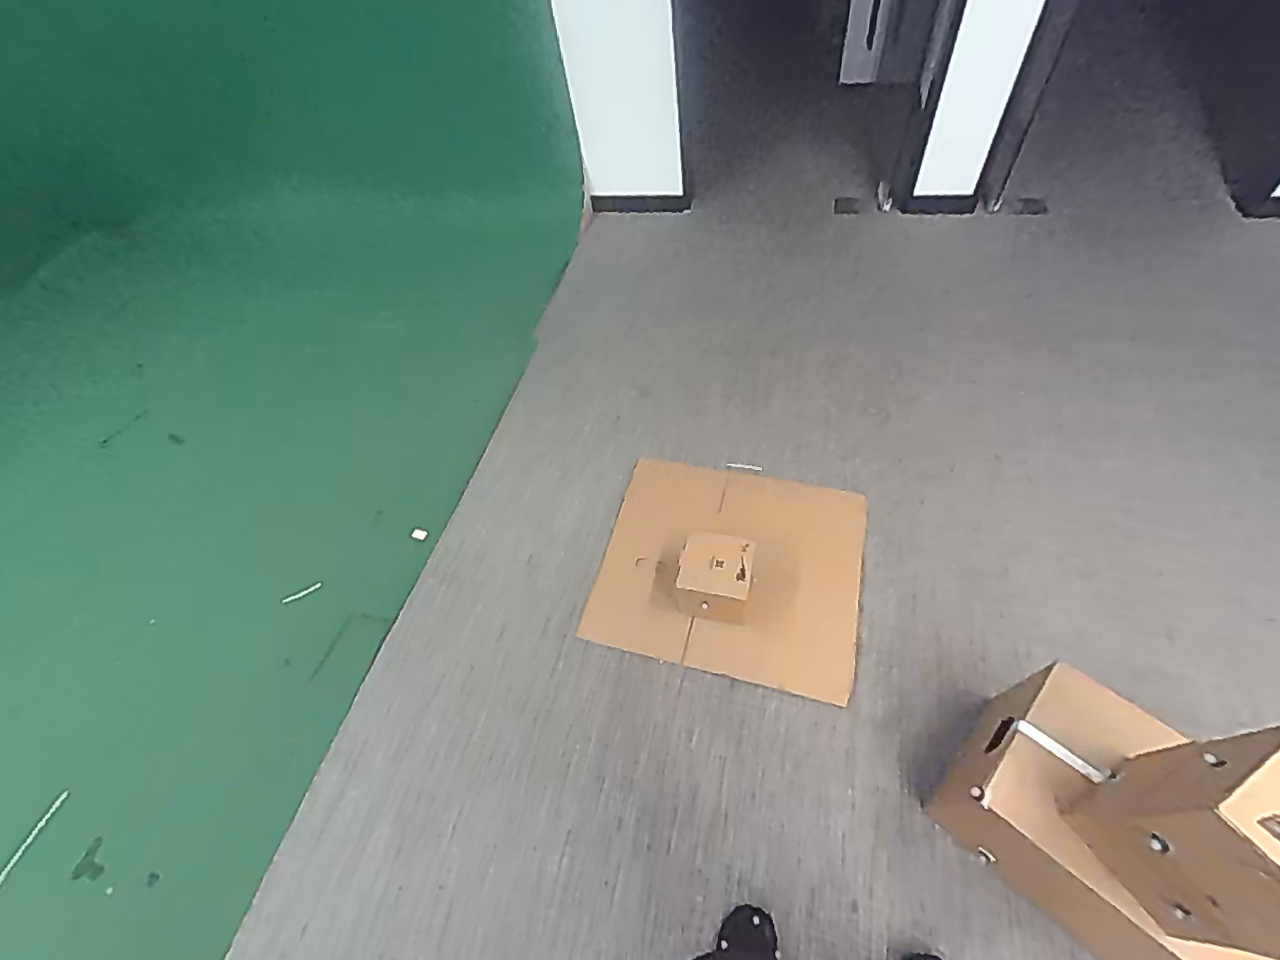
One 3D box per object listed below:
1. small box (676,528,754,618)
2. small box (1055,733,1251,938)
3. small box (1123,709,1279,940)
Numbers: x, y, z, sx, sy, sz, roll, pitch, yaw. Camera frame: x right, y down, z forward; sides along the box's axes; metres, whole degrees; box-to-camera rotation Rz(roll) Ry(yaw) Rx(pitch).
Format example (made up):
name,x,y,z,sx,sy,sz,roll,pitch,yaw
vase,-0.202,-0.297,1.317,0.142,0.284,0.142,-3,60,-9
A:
name,x,y,z,sx,sy,sz,roll,pitch,yaw
small box,0.199,0.243,1.401,0.179,0.176,0.168,5,55,14
small box,0.763,0.500,0.775,0.168,0.176,0.179,-29,55,-12
small box,0.737,0.409,0.640,0.179,0.176,0.168,-33,58,-12
